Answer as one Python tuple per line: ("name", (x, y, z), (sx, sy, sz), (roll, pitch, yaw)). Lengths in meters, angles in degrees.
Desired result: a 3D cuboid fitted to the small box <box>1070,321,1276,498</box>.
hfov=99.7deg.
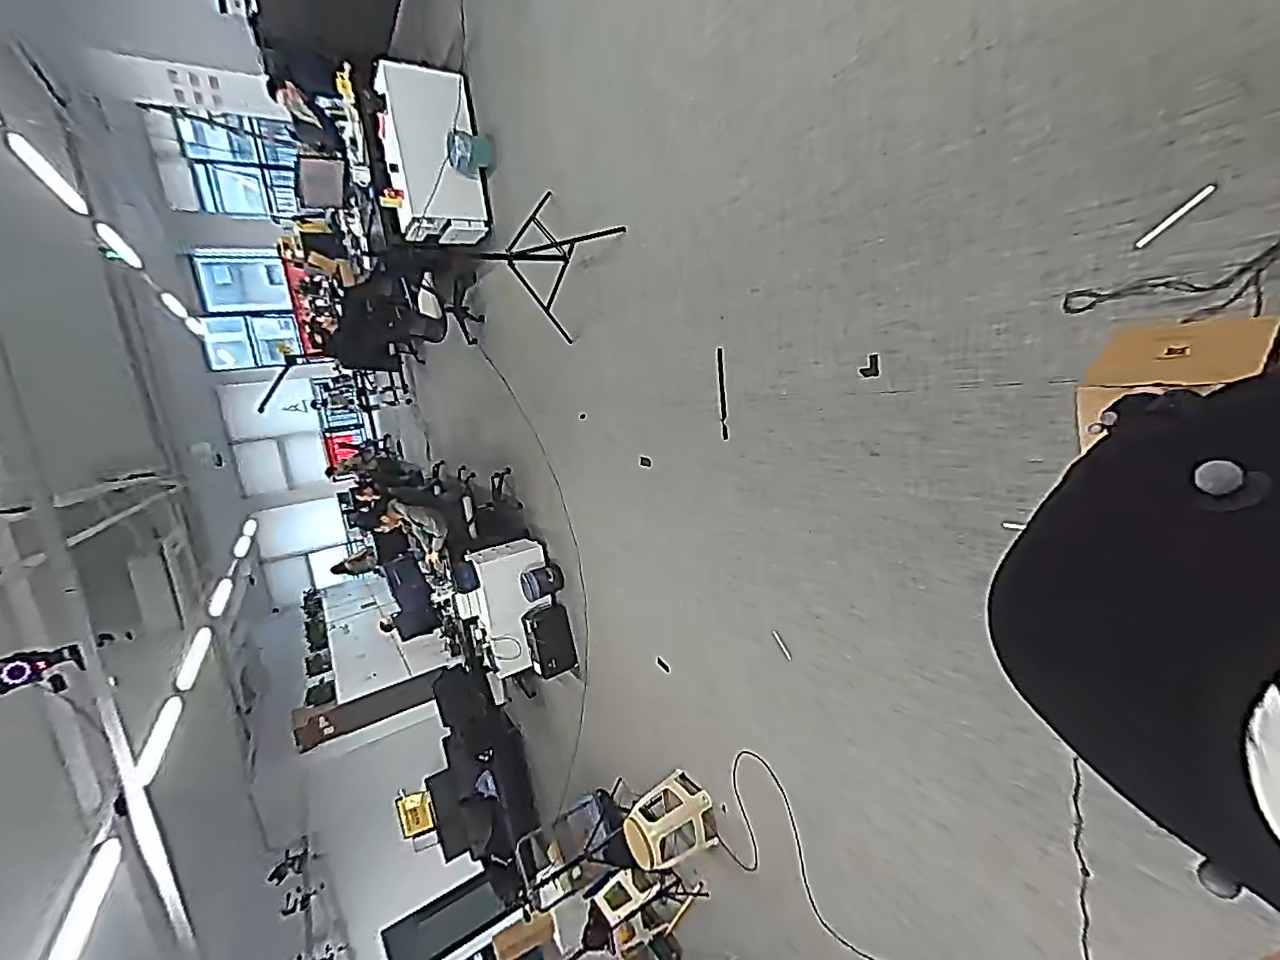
("small box", (0.724, -0.094, 0.739), (0.168, 0.179, 0.176), (12, 133, 53))
